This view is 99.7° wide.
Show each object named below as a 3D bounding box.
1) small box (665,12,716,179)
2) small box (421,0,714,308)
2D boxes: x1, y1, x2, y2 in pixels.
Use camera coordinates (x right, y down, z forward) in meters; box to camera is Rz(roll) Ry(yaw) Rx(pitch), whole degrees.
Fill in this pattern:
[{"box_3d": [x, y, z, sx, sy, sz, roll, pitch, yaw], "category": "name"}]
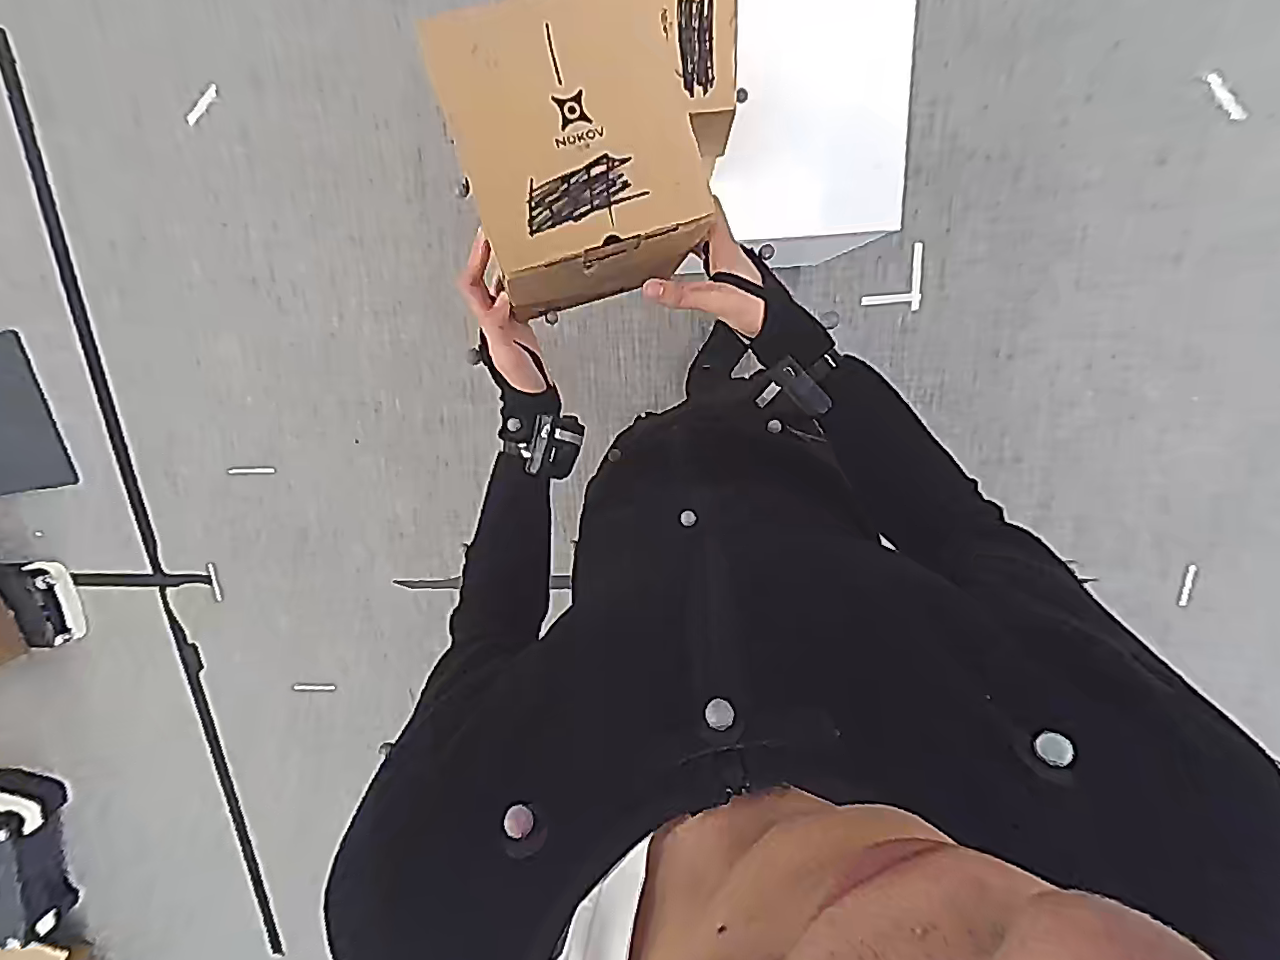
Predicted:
[{"box_3d": [0.025, -0.547, 0.807, 0.168, 0.176, 0.179, -1, 105, 3], "category": "small box"}, {"box_3d": [-0.056, -0.257, 0.455, 0.168, 0.176, 0.179, -18, 97, -7], "category": "small box"}]
